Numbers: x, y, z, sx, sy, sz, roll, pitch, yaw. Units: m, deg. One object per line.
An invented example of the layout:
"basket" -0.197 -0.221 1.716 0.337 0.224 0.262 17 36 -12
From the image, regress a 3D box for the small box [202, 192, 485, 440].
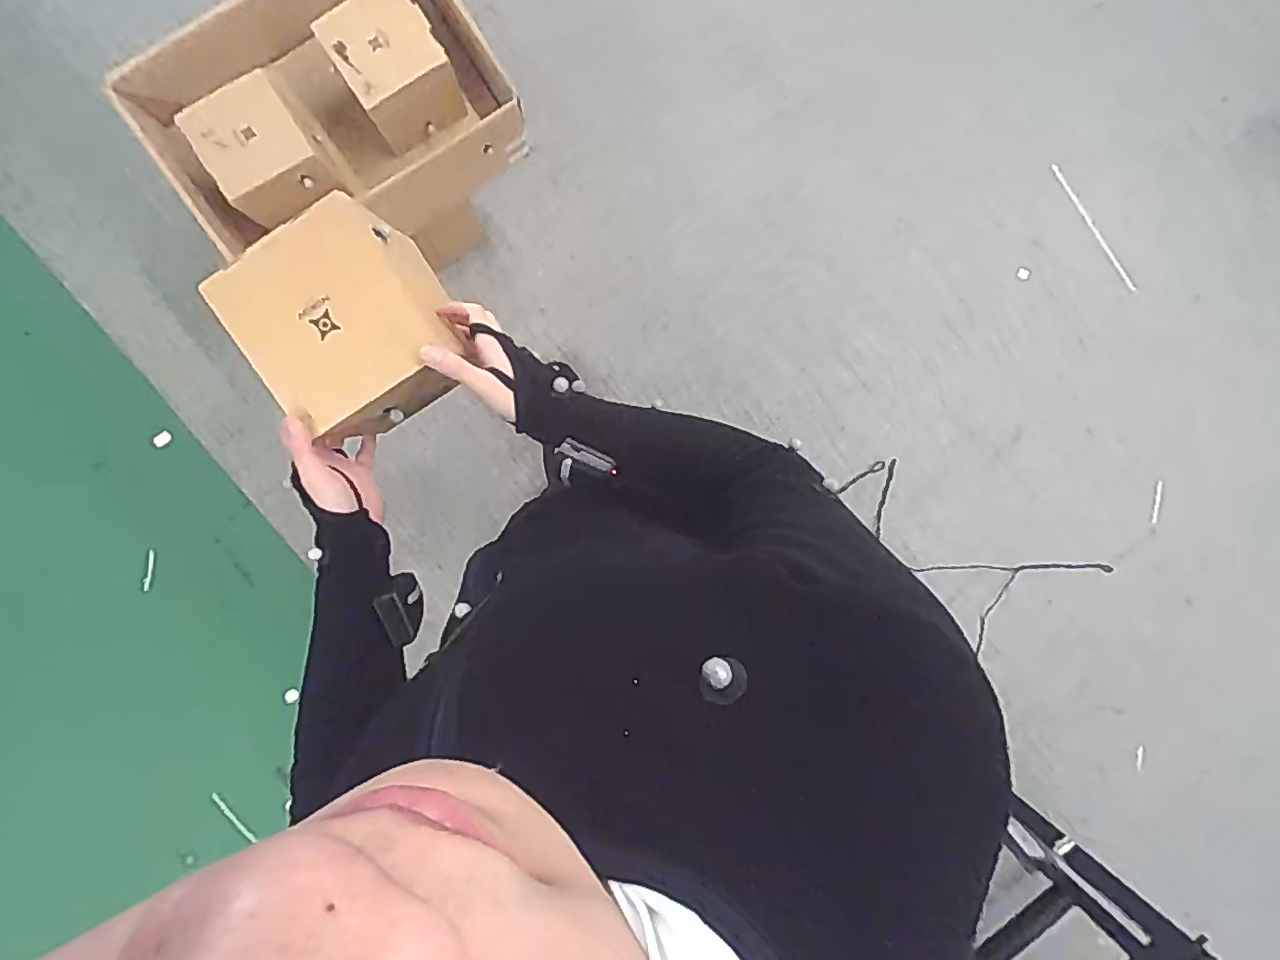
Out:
"small box" -0.298 -0.164 0.590 0.168 0.176 0.179 -32 96 4
